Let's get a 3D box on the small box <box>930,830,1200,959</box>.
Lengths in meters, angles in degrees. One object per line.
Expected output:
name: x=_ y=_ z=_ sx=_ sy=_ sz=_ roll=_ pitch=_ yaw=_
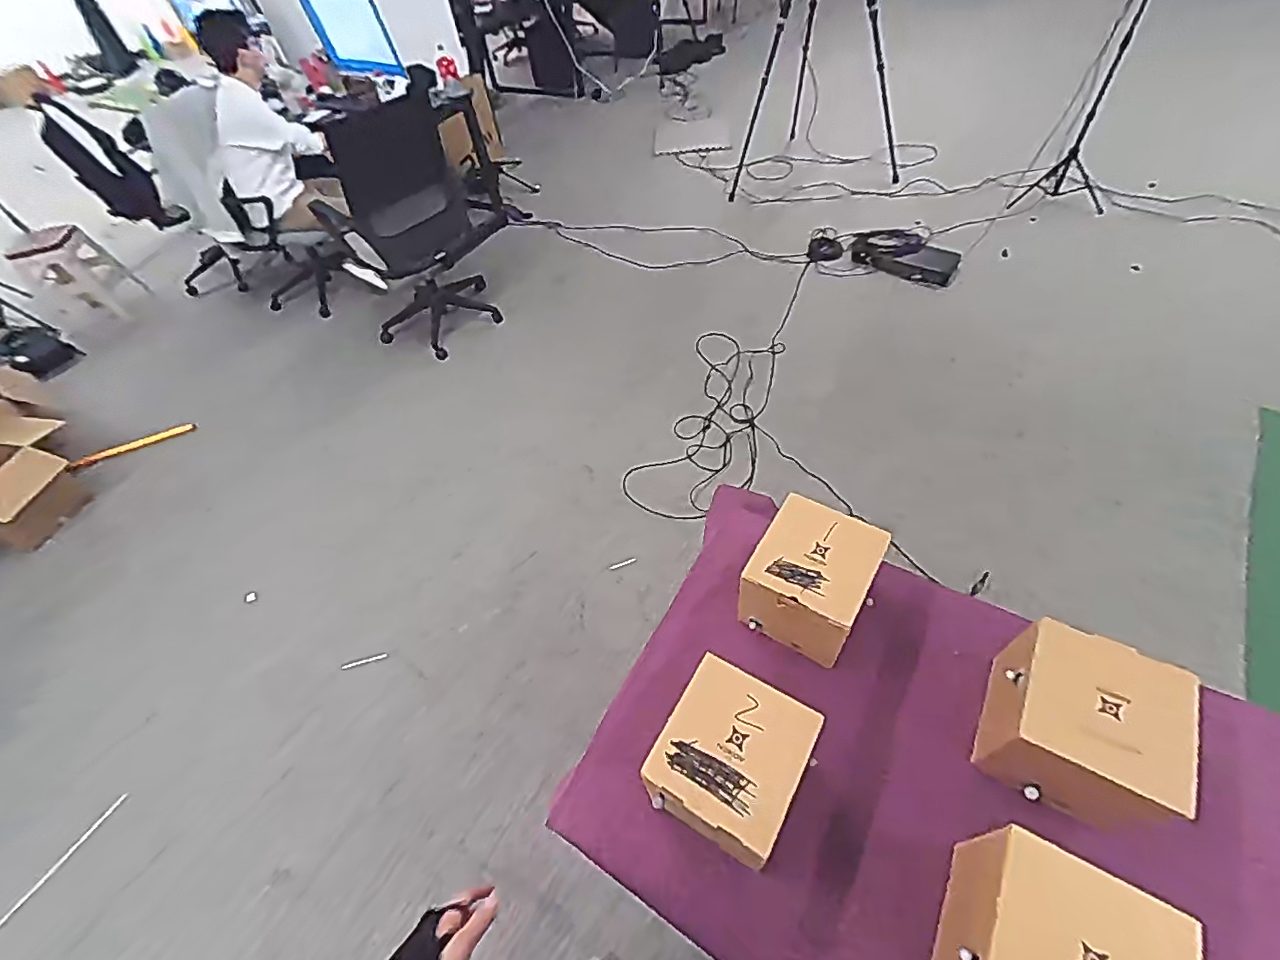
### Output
small box: x=0.426 y=0.510 z=0.566 sx=0.168 sy=0.176 sz=0.179 roll=22 pitch=57 yaw=23

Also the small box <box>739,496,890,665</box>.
small box: x=0.270 y=0.164 z=0.863 sx=0.168 sy=0.176 sz=0.179 roll=25 pitch=60 yaw=24

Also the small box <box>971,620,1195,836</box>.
small box: x=0.560 y=0.322 z=0.701 sx=0.168 sy=0.176 sz=0.179 roll=23 pitch=58 yaw=25
